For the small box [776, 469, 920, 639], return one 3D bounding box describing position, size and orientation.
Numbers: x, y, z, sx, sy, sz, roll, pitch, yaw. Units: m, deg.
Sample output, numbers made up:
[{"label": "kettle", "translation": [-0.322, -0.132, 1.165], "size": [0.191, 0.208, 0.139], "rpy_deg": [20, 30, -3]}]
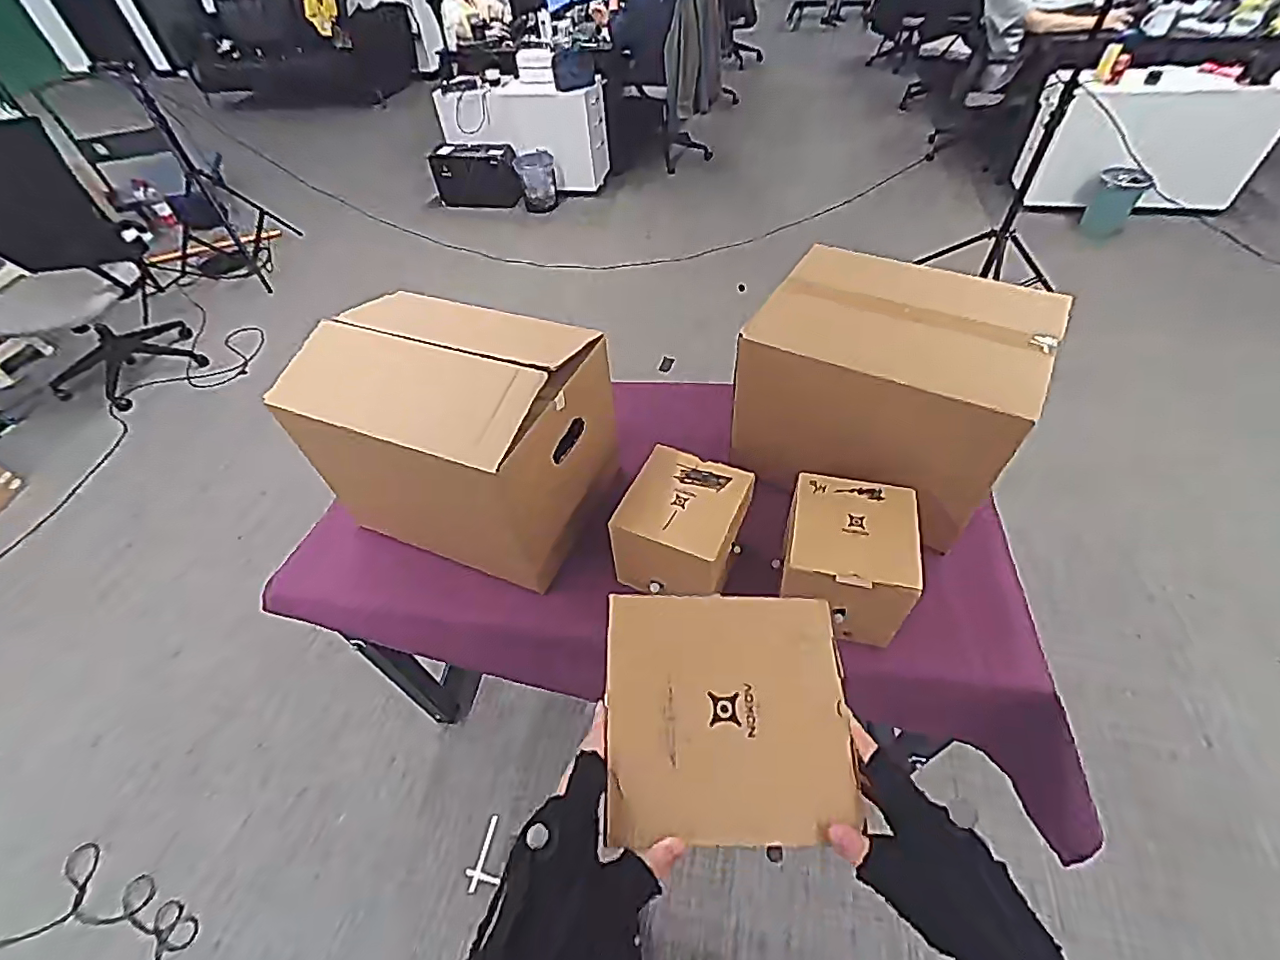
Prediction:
[{"label": "small box", "translation": [0.301, 0.113, 0.803], "size": [0.168, 0.176, 0.179], "rpy_deg": [10, 51, 13]}]
